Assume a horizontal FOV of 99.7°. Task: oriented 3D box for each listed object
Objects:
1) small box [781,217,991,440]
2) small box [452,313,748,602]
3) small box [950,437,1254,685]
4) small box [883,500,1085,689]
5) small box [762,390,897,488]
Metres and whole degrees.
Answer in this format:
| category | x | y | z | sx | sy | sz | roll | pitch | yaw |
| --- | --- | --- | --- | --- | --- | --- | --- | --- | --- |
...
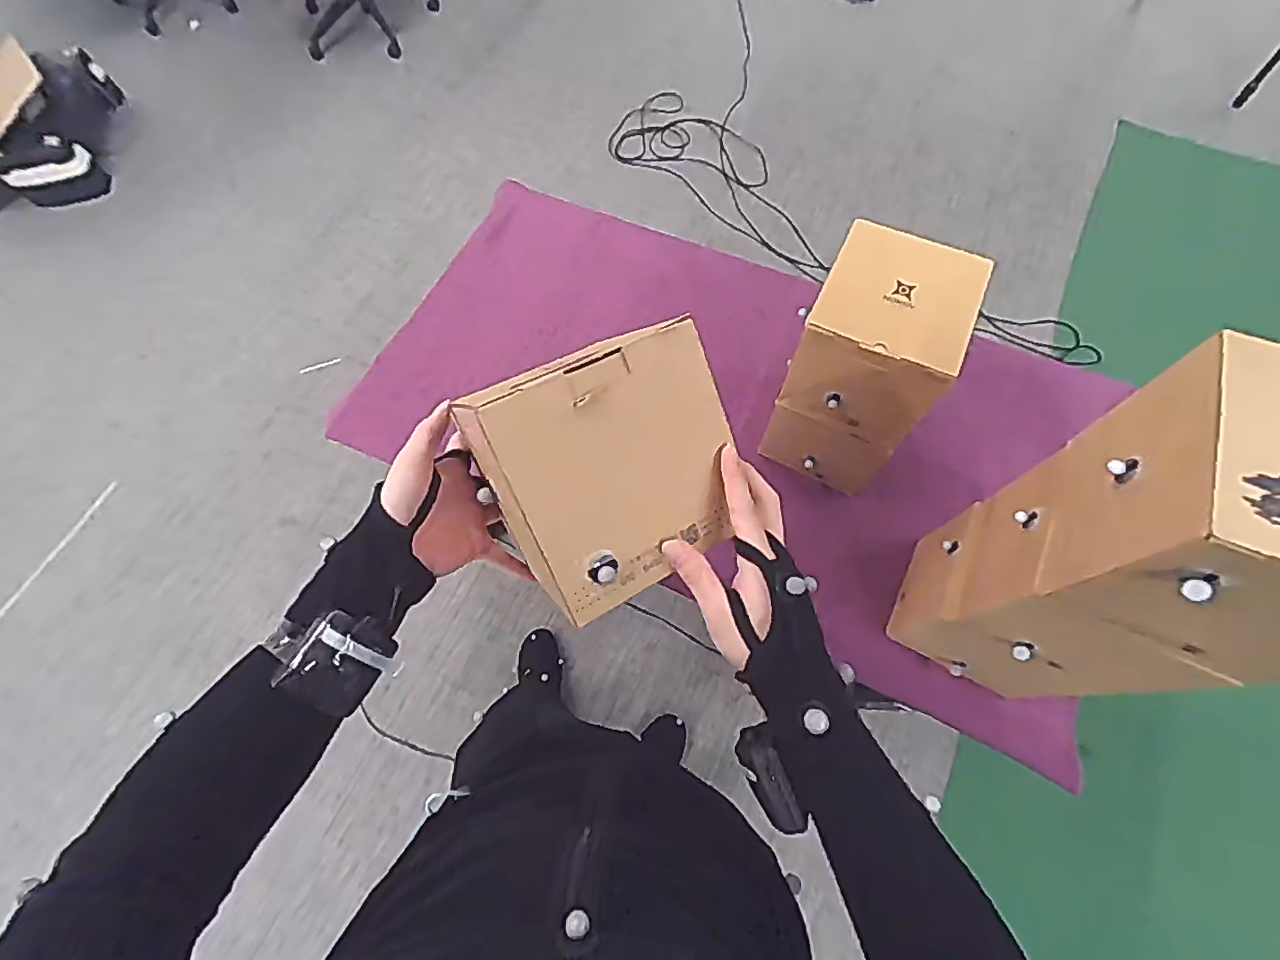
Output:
| category | x | y | z | sx | sy | sz | roll | pitch | yaw |
| --- | --- | --- | --- | --- | --- | --- | --- | --- | --- |
| small box | 0.294 | -0.182 | 0.681 | 0.168 | 0.176 | 0.179 | 25 | 72 | 10 |
| small box | -0.035 | -0.022 | 0.454 | 0.168 | 0.179 | 0.176 | -27 | 109 | -20 |
| small box | 0.460 | 0.092 | 0.564 | 0.168 | 0.176 | 0.179 | 26 | 70 | 13 |
| small box | 0.460 | 0.157 | 0.715 | 0.179 | 0.176 | 0.168 | 27 | 70 | 13 |
| small box | 0.303 | -0.117 | 0.830 | 0.168 | 0.176 | 0.179 | 27 | 71 | 12 |
